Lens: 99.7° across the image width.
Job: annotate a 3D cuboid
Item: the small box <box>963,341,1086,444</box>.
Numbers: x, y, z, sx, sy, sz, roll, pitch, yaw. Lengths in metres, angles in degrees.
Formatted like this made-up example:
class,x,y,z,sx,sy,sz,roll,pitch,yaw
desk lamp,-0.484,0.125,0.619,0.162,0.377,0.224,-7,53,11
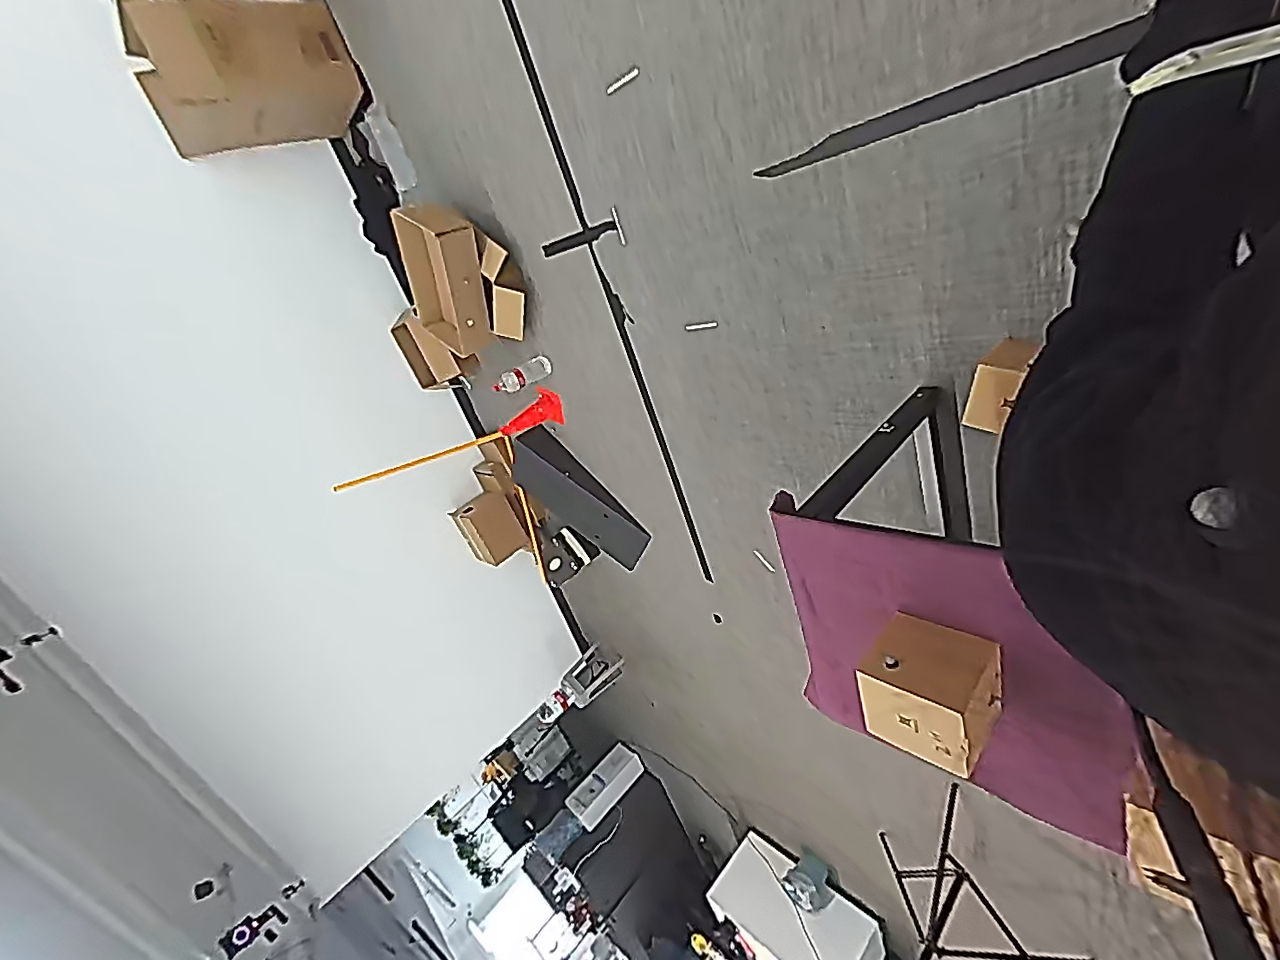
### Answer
class,x,y,z,sx,sy,sz,roll,pitch,yaw
small box,0.904,-0.213,1.275,0.179,0.176,0.168,25,138,36

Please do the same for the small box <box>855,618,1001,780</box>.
class,x,y,z,sx,sy,sz,roll,pitch,yaw
small box,0.510,0.372,0.956,0.179,0.176,0.168,11,129,47
